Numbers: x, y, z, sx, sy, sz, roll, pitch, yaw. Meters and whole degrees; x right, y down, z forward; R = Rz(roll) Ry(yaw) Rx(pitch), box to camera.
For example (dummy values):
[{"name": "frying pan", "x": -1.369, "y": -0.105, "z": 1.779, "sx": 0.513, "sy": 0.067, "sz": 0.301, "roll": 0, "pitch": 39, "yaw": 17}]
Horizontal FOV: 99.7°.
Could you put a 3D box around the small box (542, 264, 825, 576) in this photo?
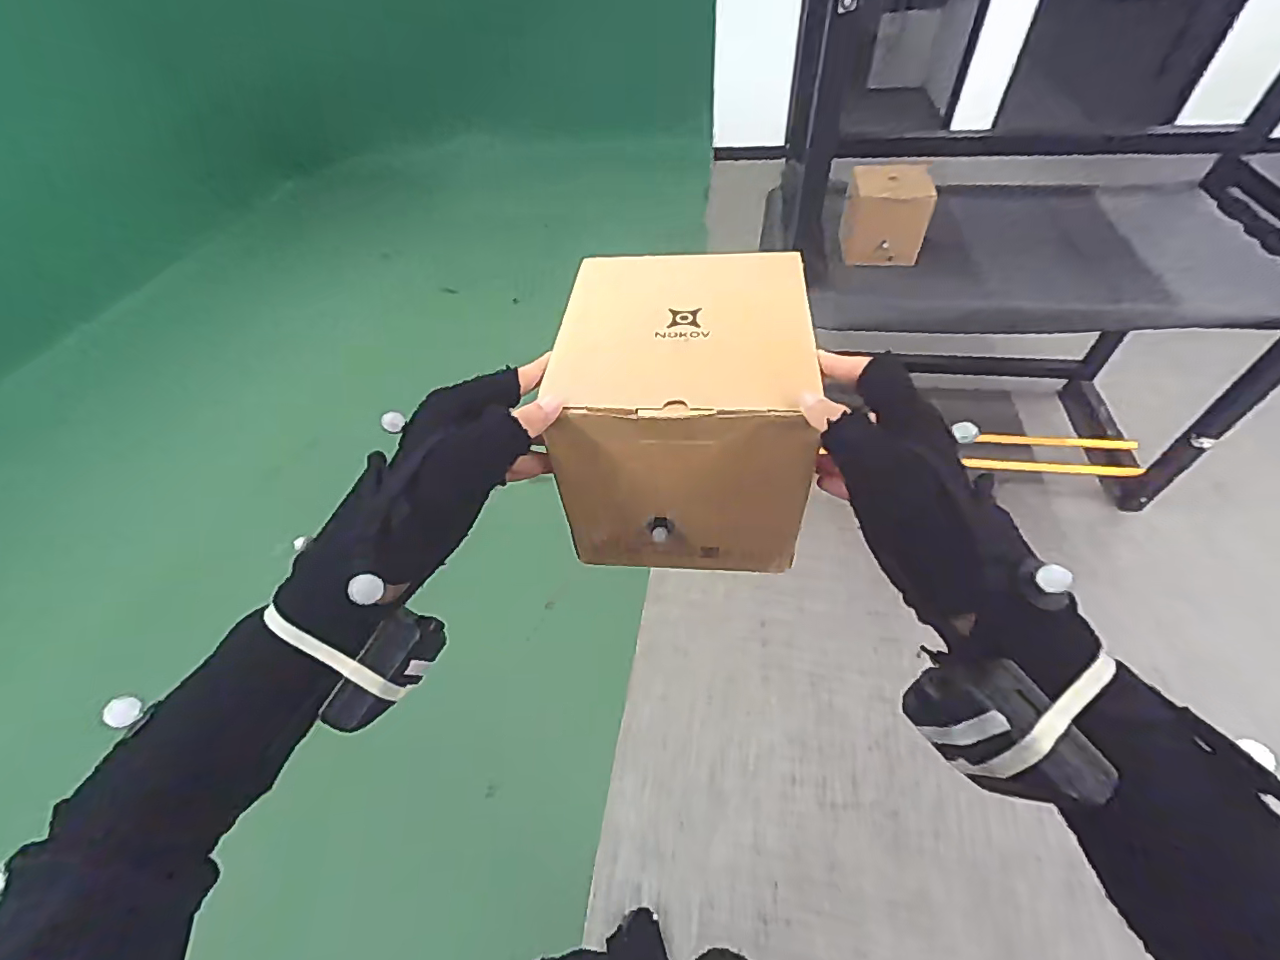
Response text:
[{"name": "small box", "x": 0.037, "y": -0.047, "z": 0.421, "sx": 0.168, "sy": 0.176, "sz": 0.179, "roll": 1, "pitch": 49, "yaw": 7}]

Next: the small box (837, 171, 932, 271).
[{"name": "small box", "x": 0.590, "y": -0.638, "z": 1.331, "sx": 0.168, "sy": 0.176, "sz": 0.179, "roll": 4, "pitch": 51, "yaw": 9}]
